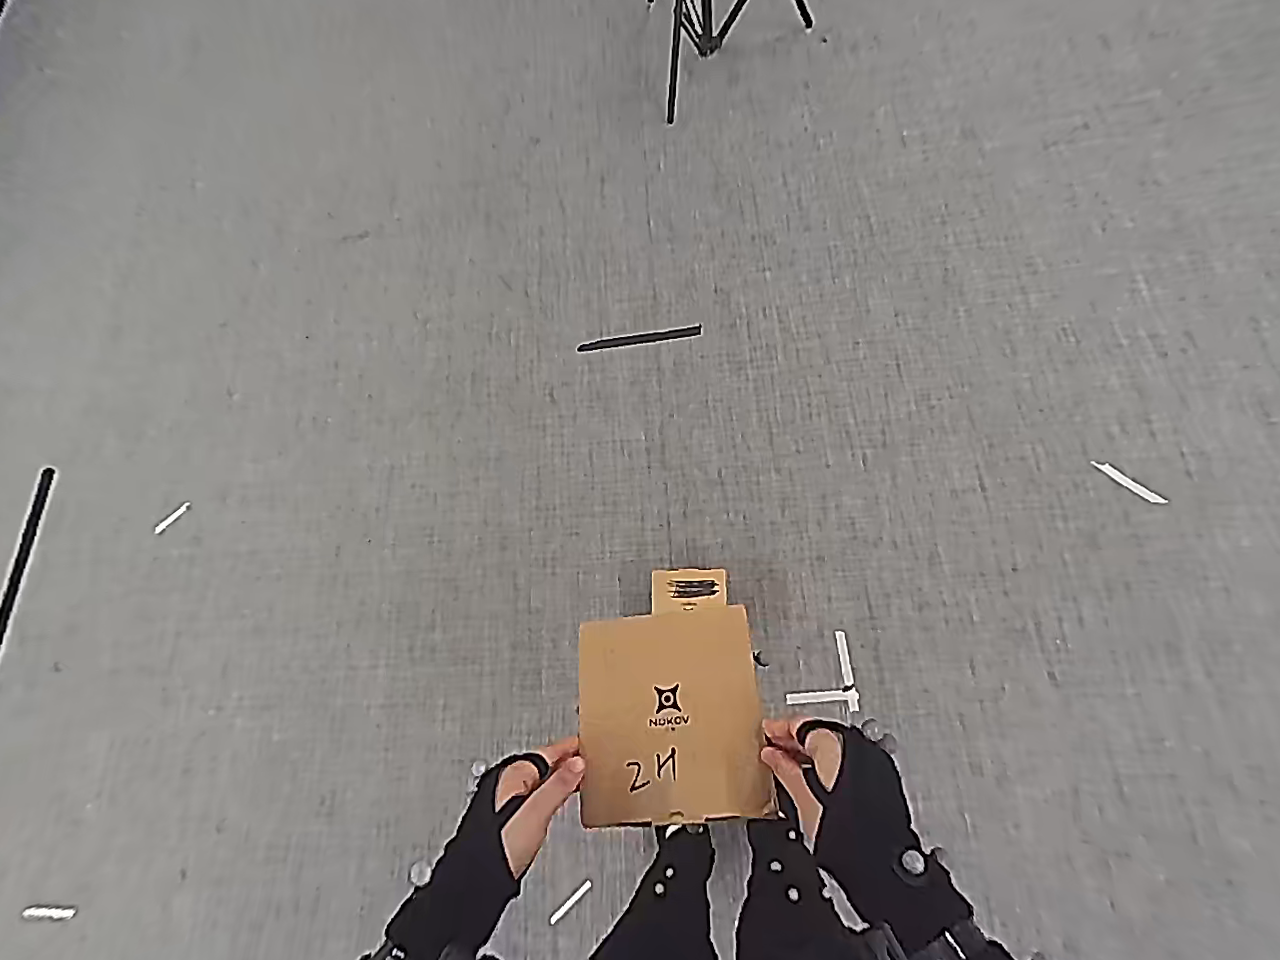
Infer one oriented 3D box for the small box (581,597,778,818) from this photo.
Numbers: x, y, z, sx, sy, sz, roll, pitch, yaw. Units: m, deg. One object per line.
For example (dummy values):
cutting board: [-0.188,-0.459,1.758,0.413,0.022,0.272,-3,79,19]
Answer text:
small box: [0.042,0.233,0.552,0.168,0.176,0.179,-9,63,9]
